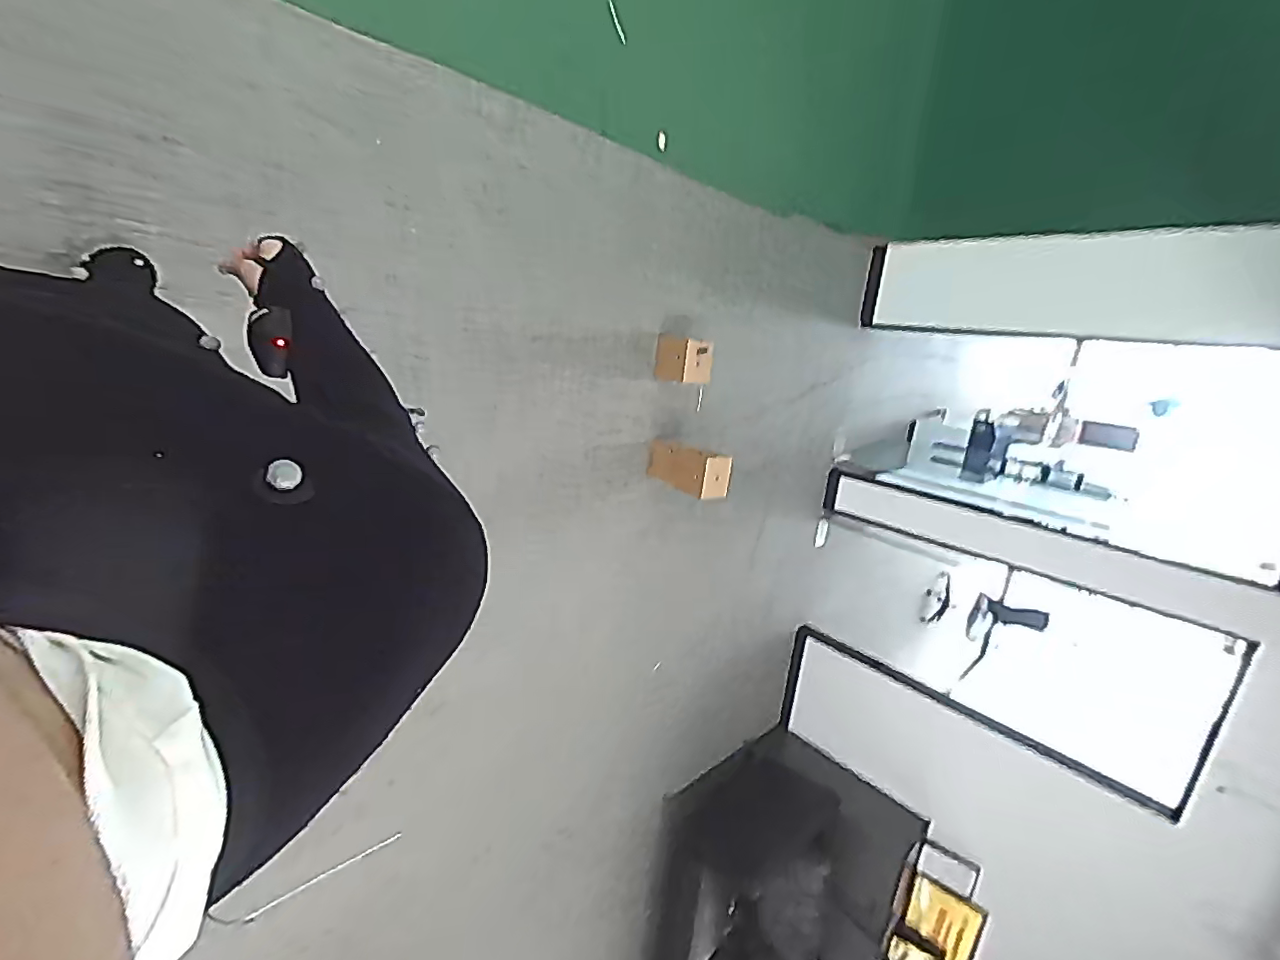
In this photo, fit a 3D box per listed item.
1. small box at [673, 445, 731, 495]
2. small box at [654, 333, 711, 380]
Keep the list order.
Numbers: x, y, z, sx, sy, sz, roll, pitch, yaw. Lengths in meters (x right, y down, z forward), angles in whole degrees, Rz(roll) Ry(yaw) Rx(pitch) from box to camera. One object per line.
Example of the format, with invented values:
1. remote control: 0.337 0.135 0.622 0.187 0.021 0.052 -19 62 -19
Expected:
1. small box: 0.257 -0.048 2.278 0.168 0.176 0.179 -7 110 -43
2. small box: 0.176 -0.517 2.264 0.168 0.176 0.179 -9 112 -43
